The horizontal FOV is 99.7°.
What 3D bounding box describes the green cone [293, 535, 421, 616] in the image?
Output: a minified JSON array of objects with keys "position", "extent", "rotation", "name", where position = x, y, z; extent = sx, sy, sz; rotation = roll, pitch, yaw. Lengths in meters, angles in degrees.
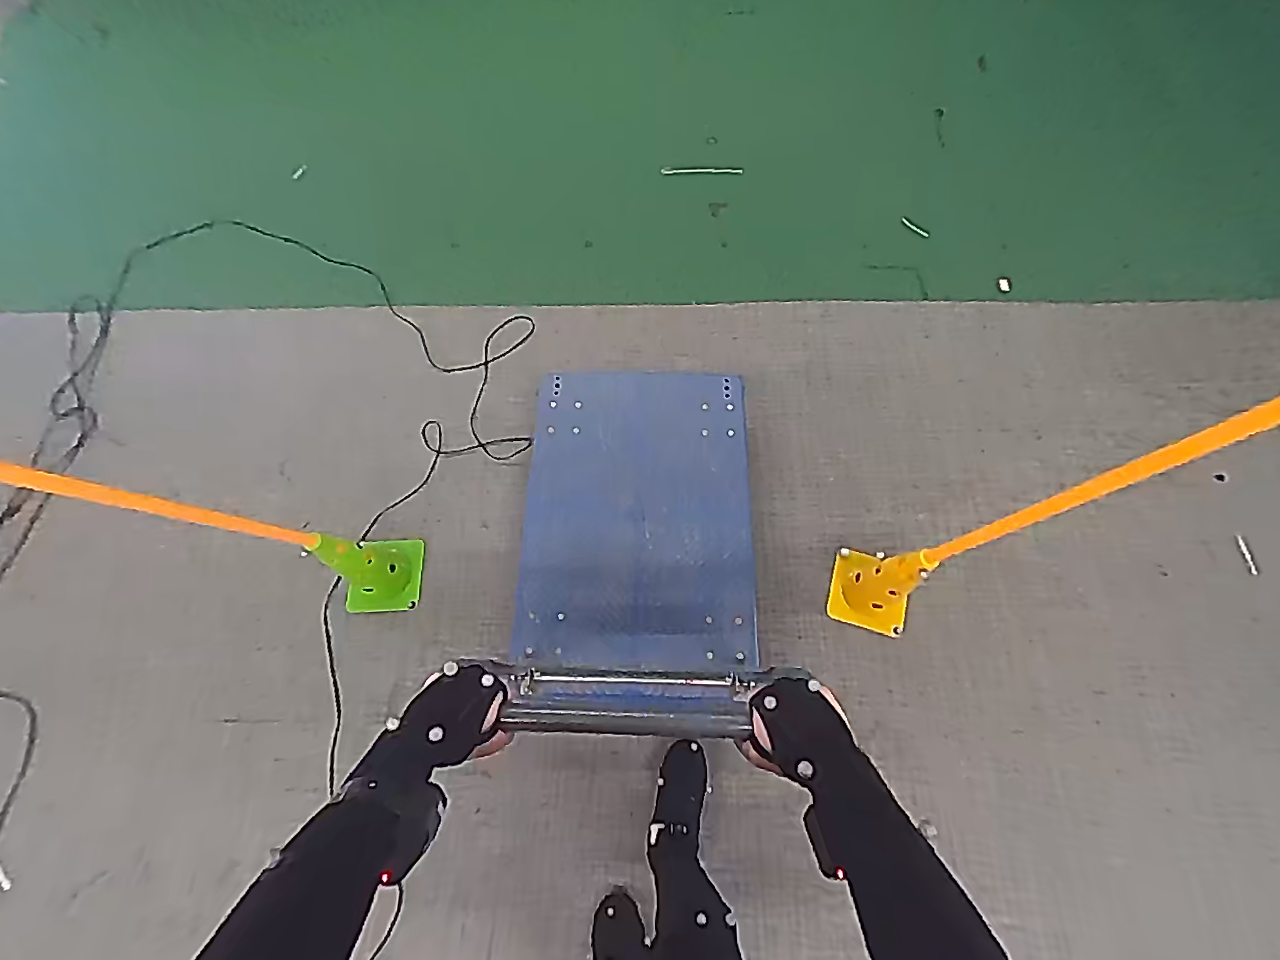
[{"position":[-0.722,0.204,1.340],"extent":[0.202,0.368,0.200],"rotation":[-4,66,2],"name":"green cone"}]
